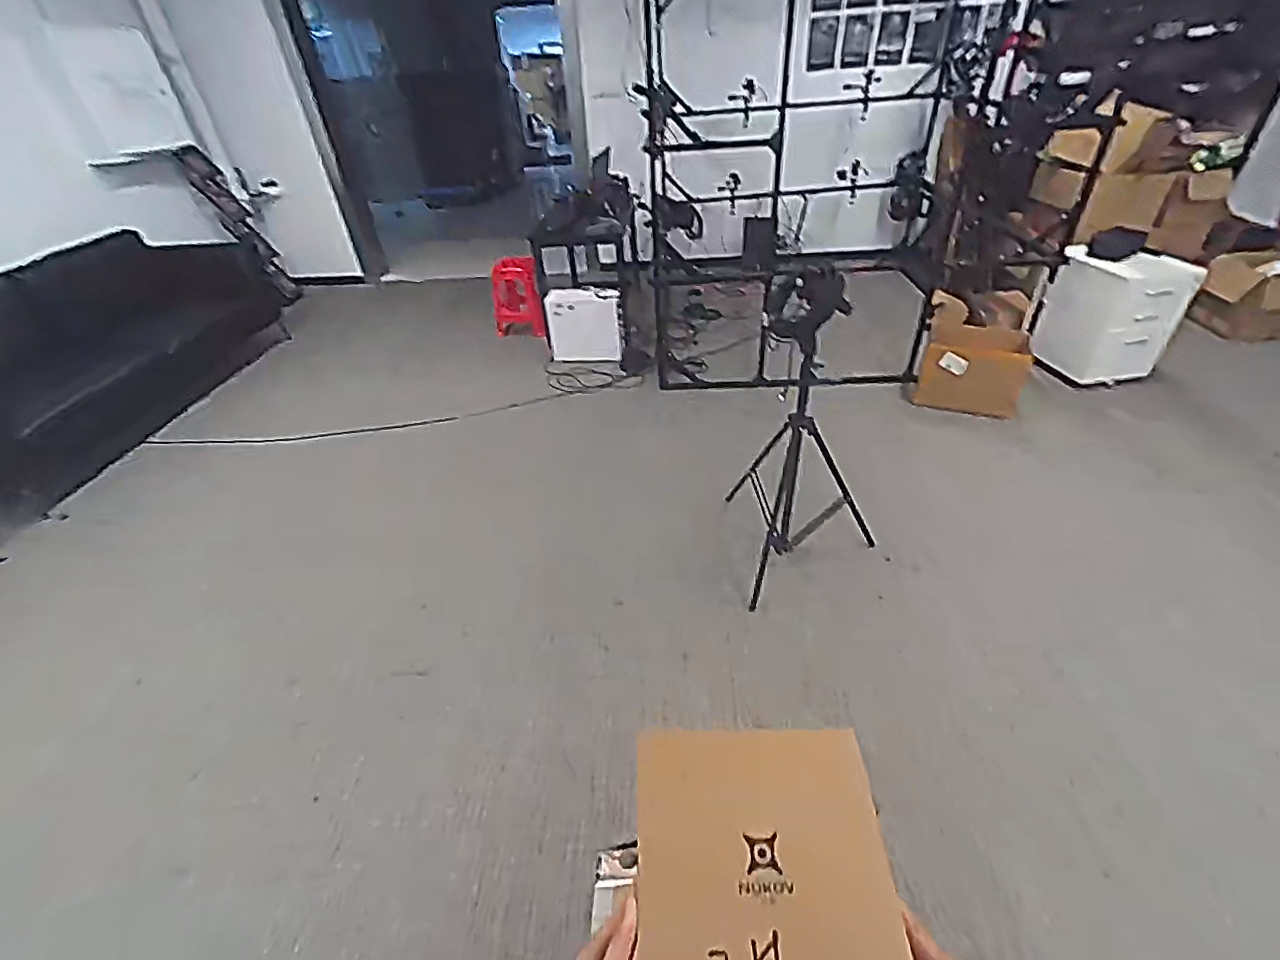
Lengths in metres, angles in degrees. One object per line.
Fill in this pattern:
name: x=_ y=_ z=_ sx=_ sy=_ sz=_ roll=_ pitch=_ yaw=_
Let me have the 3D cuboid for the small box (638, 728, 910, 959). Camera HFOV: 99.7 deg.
small box: x=0.084 y=0.310 z=0.415 sx=0.168 sy=0.176 sz=0.179 roll=-2 pitch=48 yaw=2
